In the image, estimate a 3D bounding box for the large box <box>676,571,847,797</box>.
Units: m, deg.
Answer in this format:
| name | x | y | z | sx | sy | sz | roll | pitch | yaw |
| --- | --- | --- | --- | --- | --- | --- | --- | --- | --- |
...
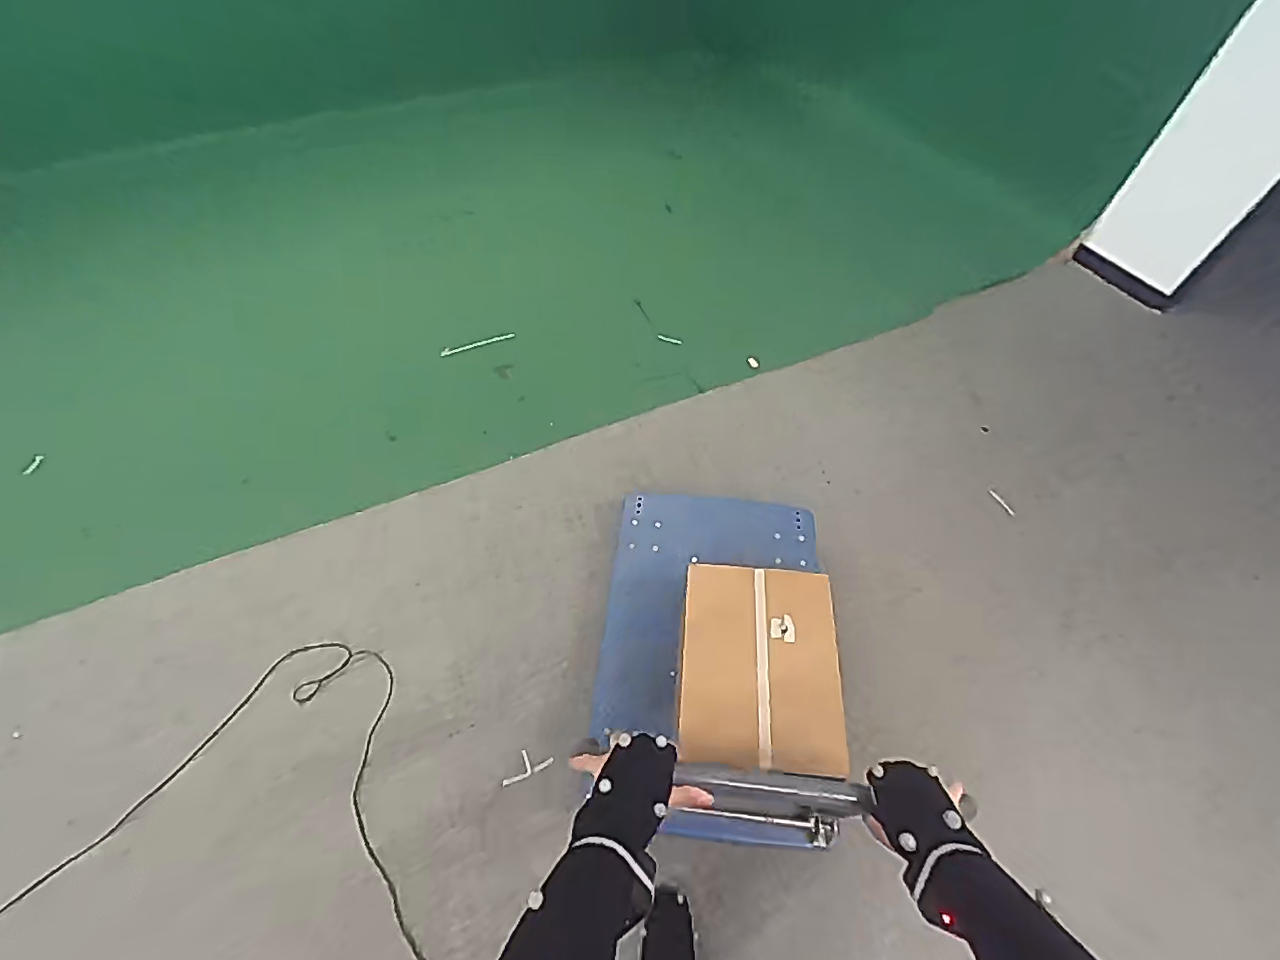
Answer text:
| name | x | y | z | sx | sy | sz | roll | pitch | yaw |
| --- | --- | --- | --- | --- | --- | --- | --- | --- | --- |
| large box | 0.245 | 0.466 | 1.229 | 0.320 | 0.320 | 0.408 | 5 | 54 | 3 |
